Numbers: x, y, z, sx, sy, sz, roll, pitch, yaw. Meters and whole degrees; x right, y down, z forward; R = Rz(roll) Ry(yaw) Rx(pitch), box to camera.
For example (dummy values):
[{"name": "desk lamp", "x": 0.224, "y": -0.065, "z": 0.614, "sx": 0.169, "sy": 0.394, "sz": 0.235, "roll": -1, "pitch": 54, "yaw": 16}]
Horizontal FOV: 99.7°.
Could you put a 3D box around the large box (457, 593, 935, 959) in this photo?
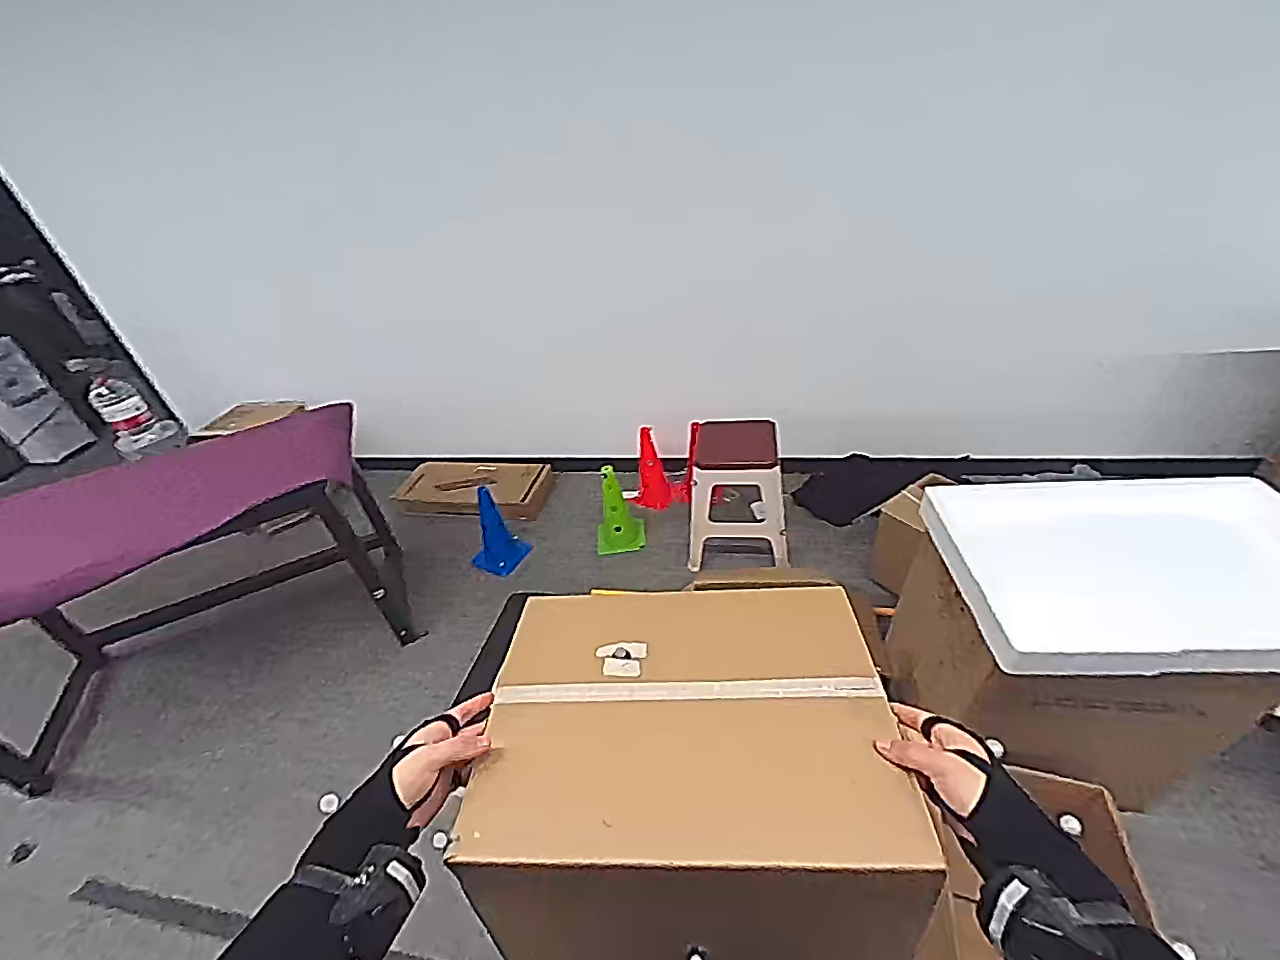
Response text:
[{"name": "large box", "x": 0.062, "y": 0.366, "z": 0.646, "sx": 0.408, "sy": 0.320, "sz": 0.320, "roll": -5, "pitch": 30, "yaw": 5}]
